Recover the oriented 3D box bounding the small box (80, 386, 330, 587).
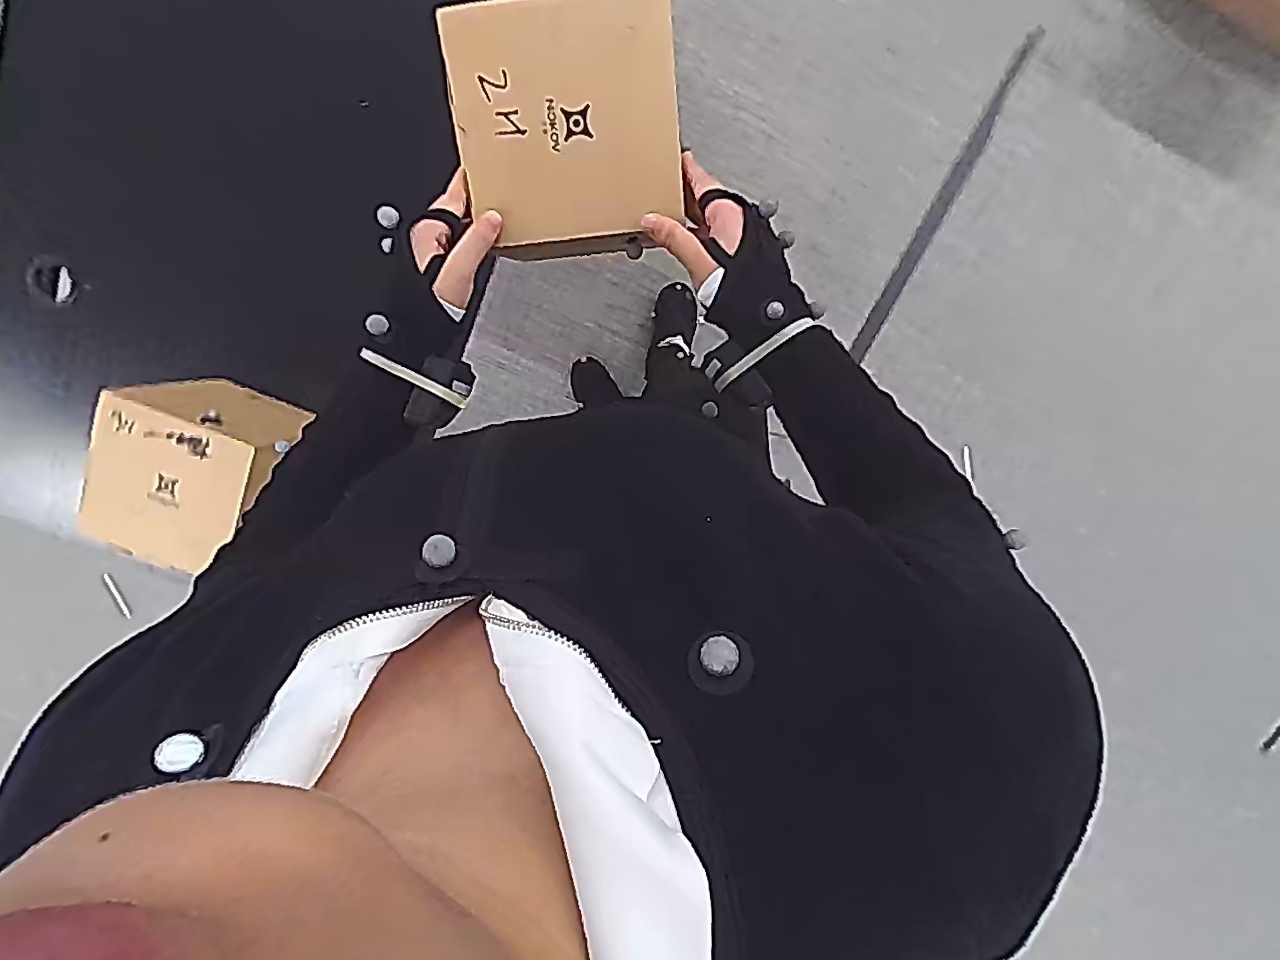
[{"bbox_3d":[-0.520,-0.003,0.670,0.168,0.176,0.179,21,104,-6],"label":"small box"}]

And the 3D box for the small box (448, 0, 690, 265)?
[{"bbox_3d":[-0.049,-0.296,0.497,0.179,0.176,0.168,-4,107,4],"label":"small box"}]
